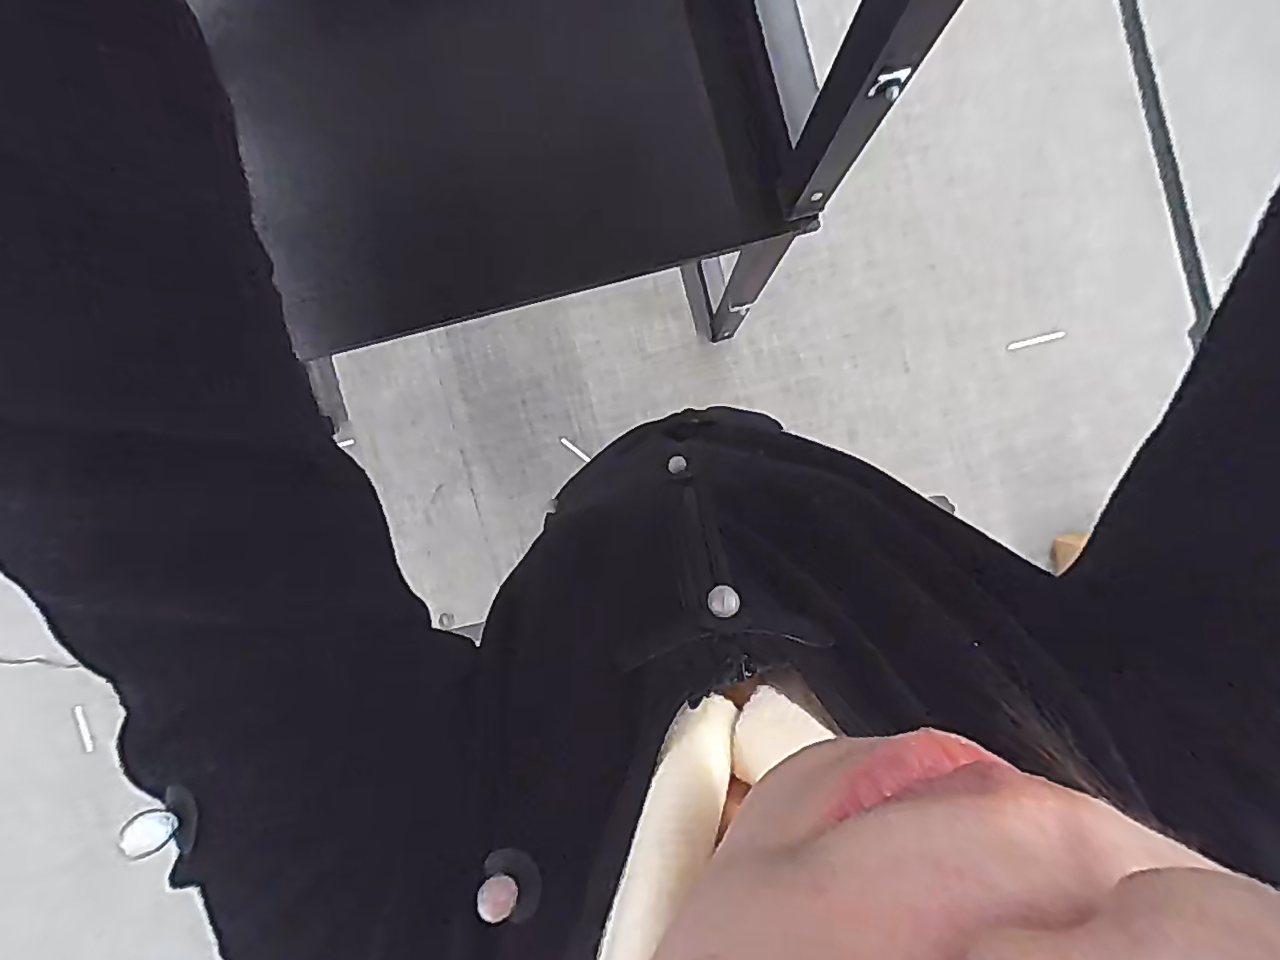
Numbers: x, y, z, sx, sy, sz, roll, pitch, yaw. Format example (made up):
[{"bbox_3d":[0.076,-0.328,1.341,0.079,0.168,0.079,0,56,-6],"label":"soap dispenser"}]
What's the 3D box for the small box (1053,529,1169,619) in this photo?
[{"bbox_3d":[1.220,0.238,1.400,0.168,0.176,0.179,-12,93,1],"label":"small box"}]
